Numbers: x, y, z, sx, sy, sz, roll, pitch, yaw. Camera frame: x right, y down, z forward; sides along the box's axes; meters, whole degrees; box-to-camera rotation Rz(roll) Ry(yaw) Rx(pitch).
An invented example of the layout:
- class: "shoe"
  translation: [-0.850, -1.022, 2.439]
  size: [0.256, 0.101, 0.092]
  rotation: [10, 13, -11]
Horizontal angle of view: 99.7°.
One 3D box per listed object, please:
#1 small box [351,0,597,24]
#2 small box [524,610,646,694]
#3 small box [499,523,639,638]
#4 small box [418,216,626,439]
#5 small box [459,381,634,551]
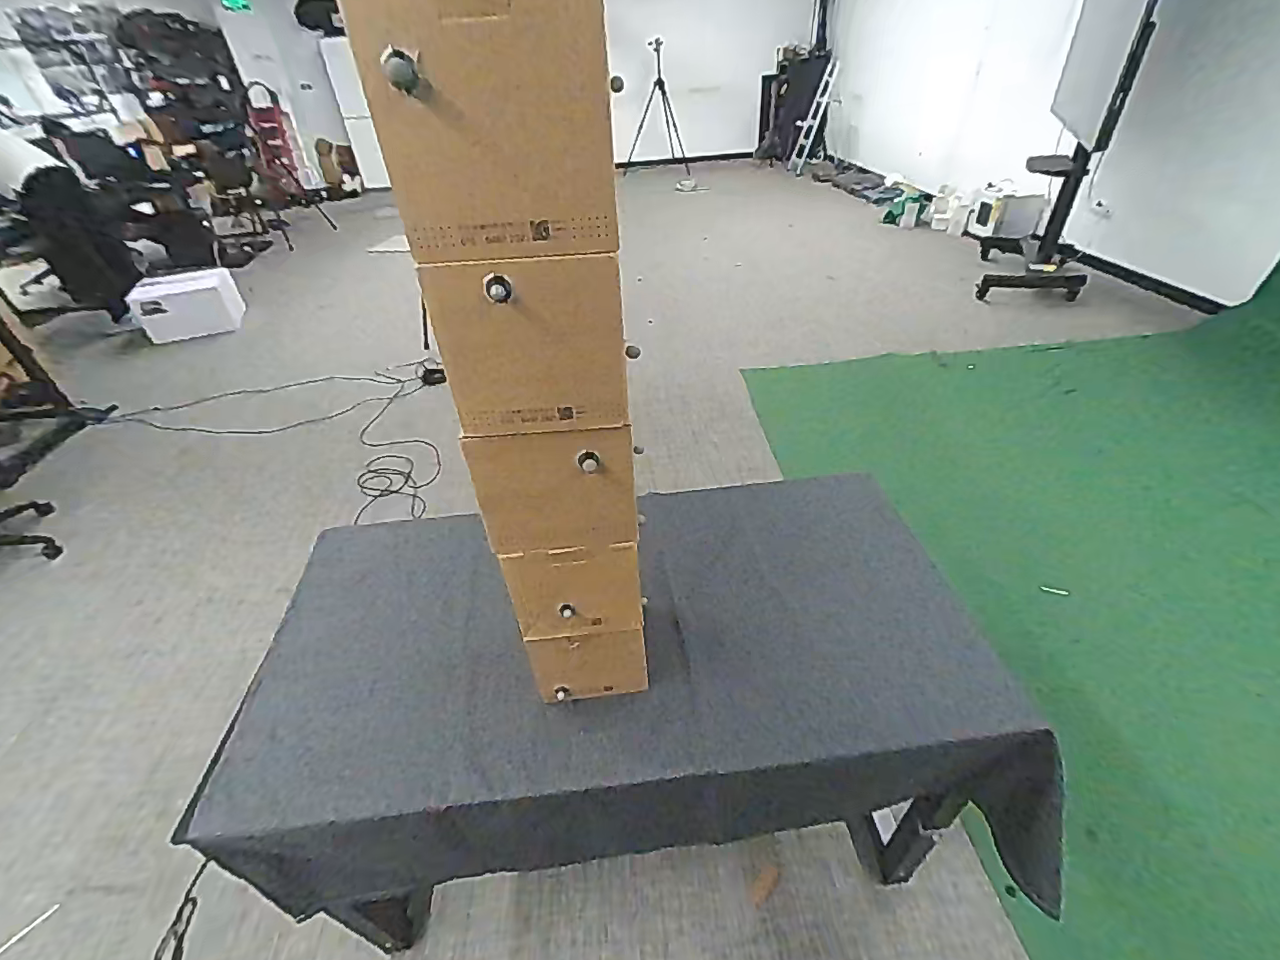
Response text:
- class: "small box"
  translation: [-0.117, -0.419, 0.356]
  size: [0.168, 0.176, 0.179]
  rotation: [-3, 39, 0]
- class: "small box"
  translation: [-0.083, 0.223, 0.863]
  size: [0.168, 0.176, 0.179]
  rotation: [-6, 37, -3]
- class: "small box"
  translation: [-0.091, 0.096, 0.763]
  size: [0.168, 0.176, 0.179]
  rotation: [-6, 39, -2]
- class: "small box"
  translation: [-0.102, -0.160, 0.558]
  size: [0.168, 0.176, 0.179]
  rotation: [-4, 38, 0]
- class: "small box"
  translation: [-0.098, -0.031, 0.659]
  size: [0.179, 0.176, 0.168]
  rotation: [-5, 38, -1]
